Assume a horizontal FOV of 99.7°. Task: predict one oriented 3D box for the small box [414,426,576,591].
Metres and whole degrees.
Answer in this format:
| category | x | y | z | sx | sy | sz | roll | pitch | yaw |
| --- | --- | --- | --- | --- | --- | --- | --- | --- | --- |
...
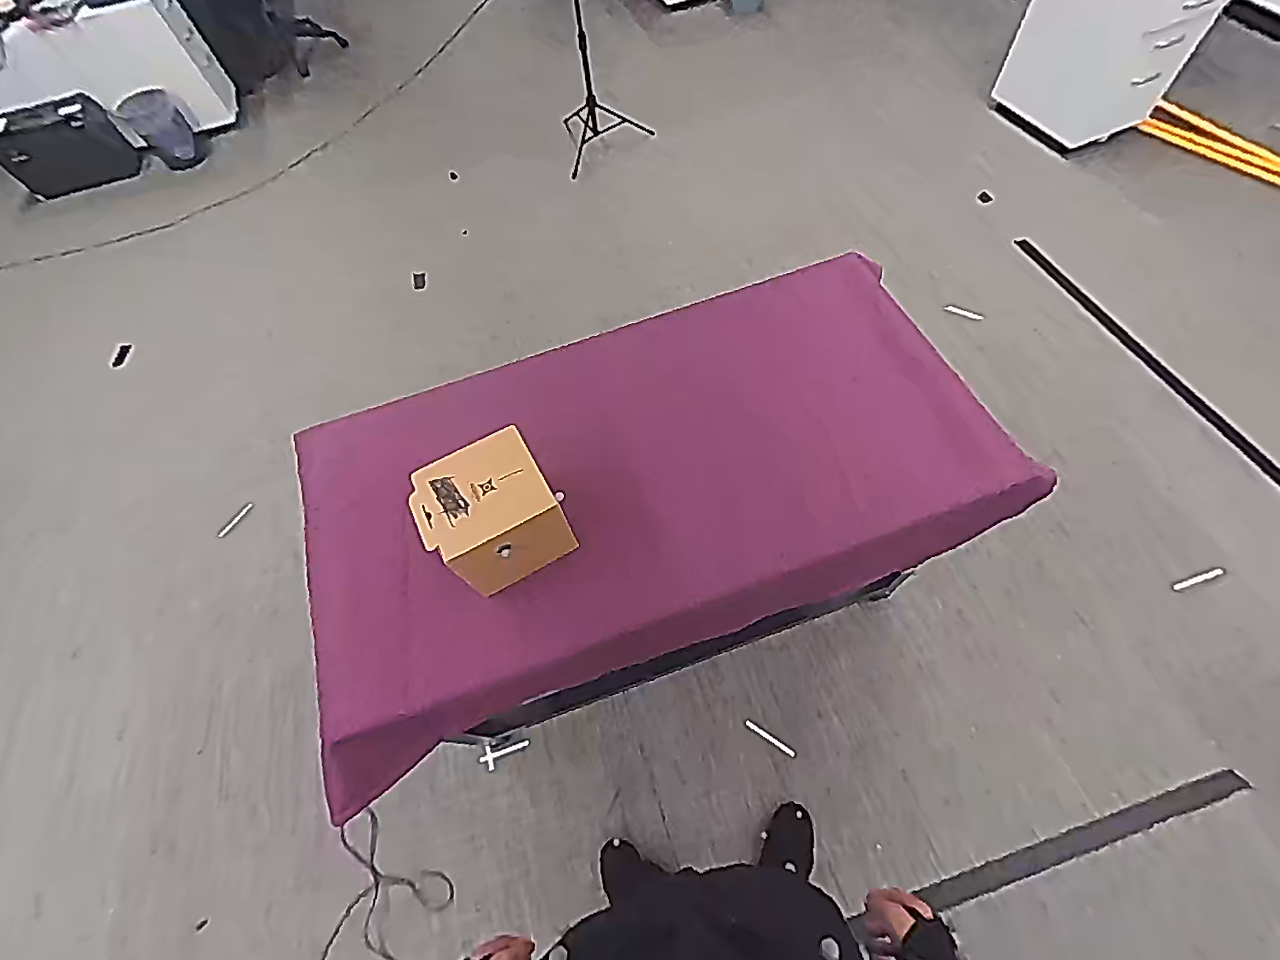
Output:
| category | x | y | z | sx | sy | sz | roll | pitch | yaw |
| --- | --- | --- | --- | --- | --- | --- | --- | --- | --- |
| small box | -0.223 | 0.052 | 0.862 | 0.179 | 0.176 | 0.168 | -27 | 63 | -10 |
